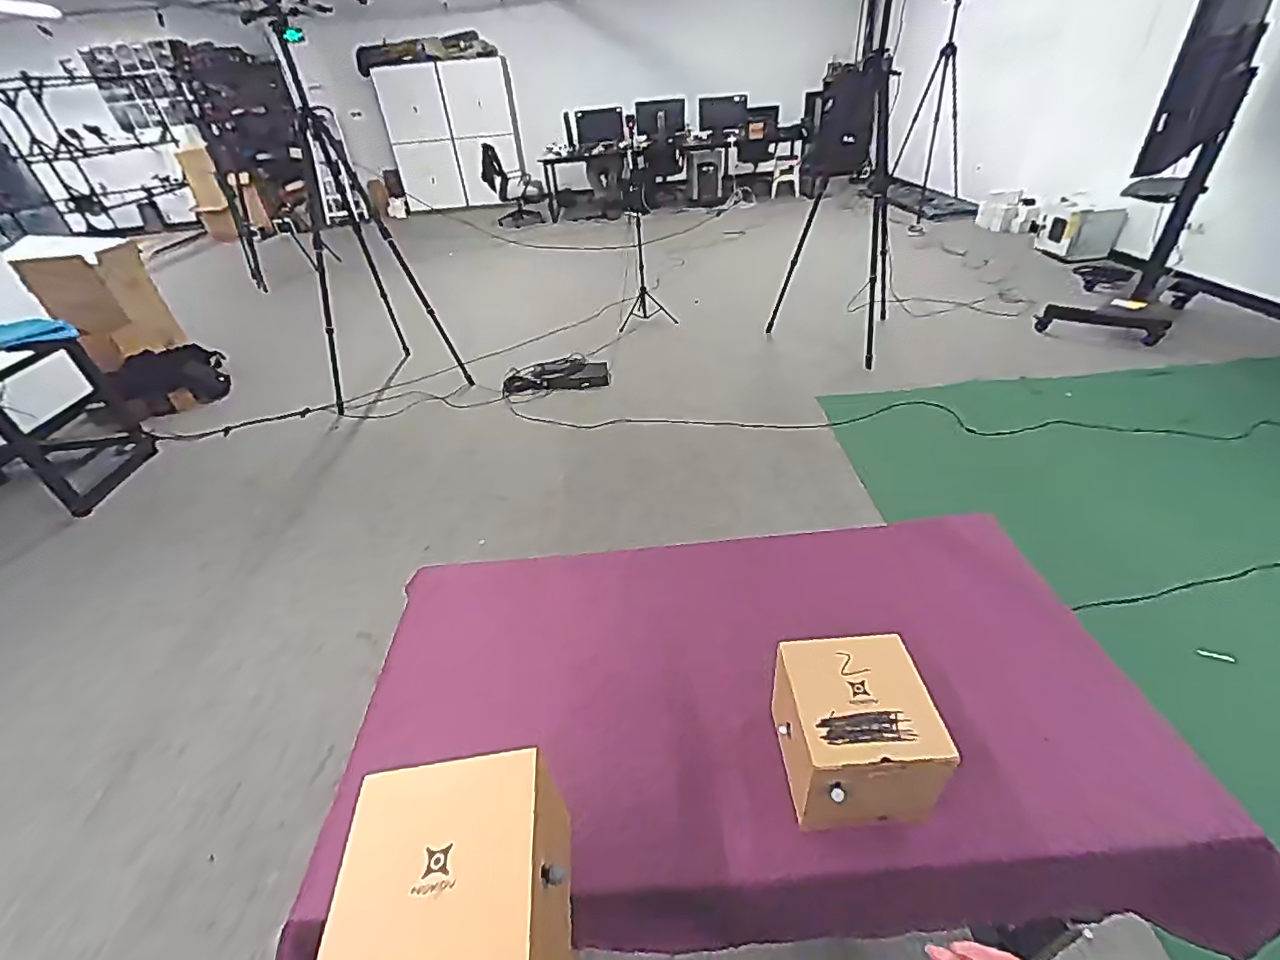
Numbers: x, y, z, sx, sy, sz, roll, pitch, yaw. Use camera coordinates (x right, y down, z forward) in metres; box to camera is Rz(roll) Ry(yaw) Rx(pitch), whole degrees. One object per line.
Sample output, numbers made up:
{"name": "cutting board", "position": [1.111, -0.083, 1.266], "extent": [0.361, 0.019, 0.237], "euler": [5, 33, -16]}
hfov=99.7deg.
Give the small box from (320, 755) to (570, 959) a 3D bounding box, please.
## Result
{"name": "small box", "position": [-0.159, 0.385, 0.495], "extent": [0.168, 0.176, 0.179], "euler": [-8, 40, -2]}
